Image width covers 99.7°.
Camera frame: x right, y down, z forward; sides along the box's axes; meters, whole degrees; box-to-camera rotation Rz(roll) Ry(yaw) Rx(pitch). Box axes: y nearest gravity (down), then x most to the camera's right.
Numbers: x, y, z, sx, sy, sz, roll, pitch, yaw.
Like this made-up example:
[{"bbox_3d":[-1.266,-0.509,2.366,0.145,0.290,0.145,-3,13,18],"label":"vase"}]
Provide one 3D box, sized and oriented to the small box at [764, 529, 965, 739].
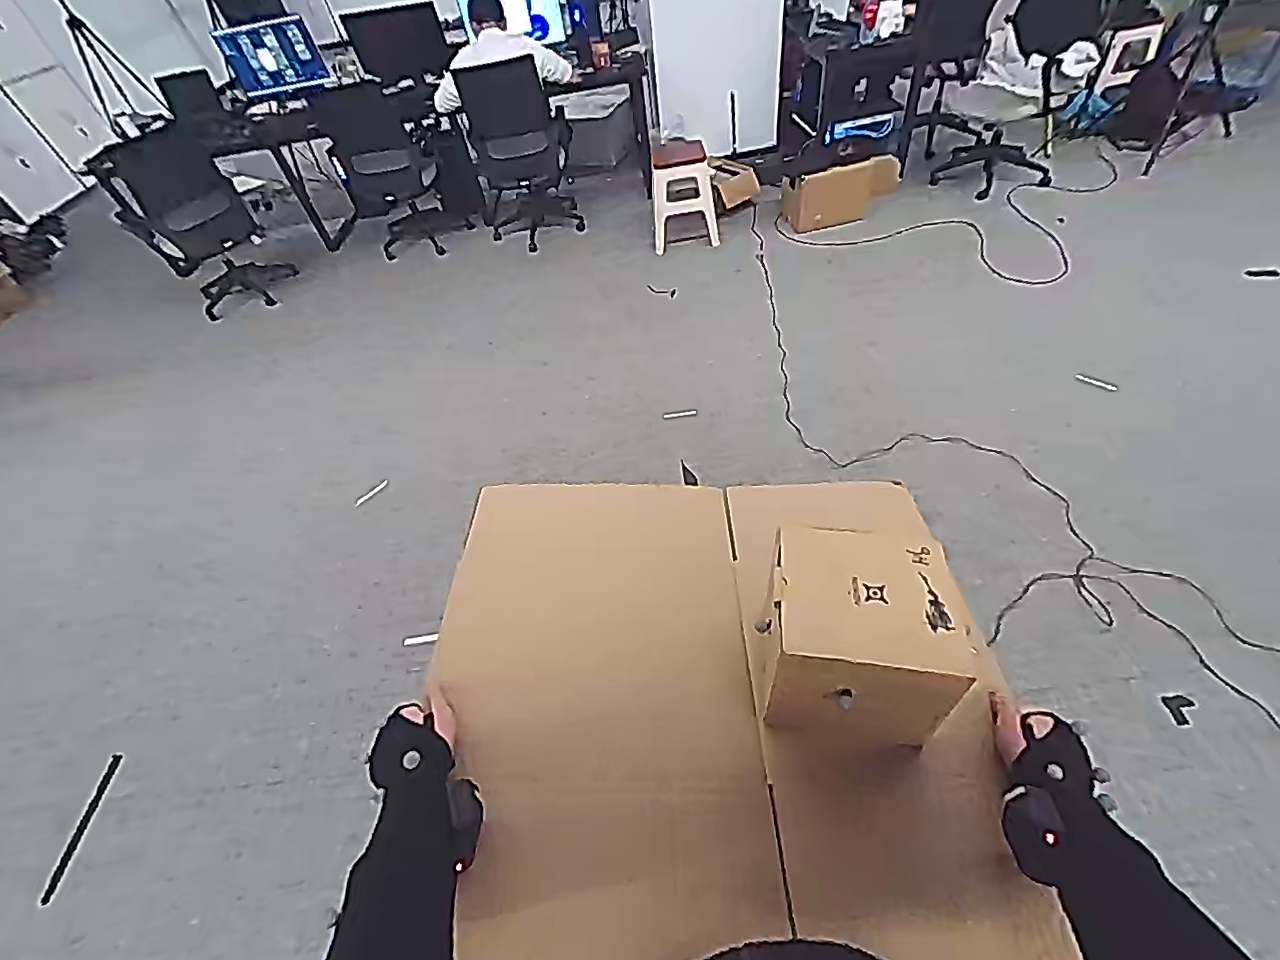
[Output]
[{"bbox_3d":[0.237,0.177,0.622,0.179,0.176,0.168,4,45,10],"label":"small box"}]
